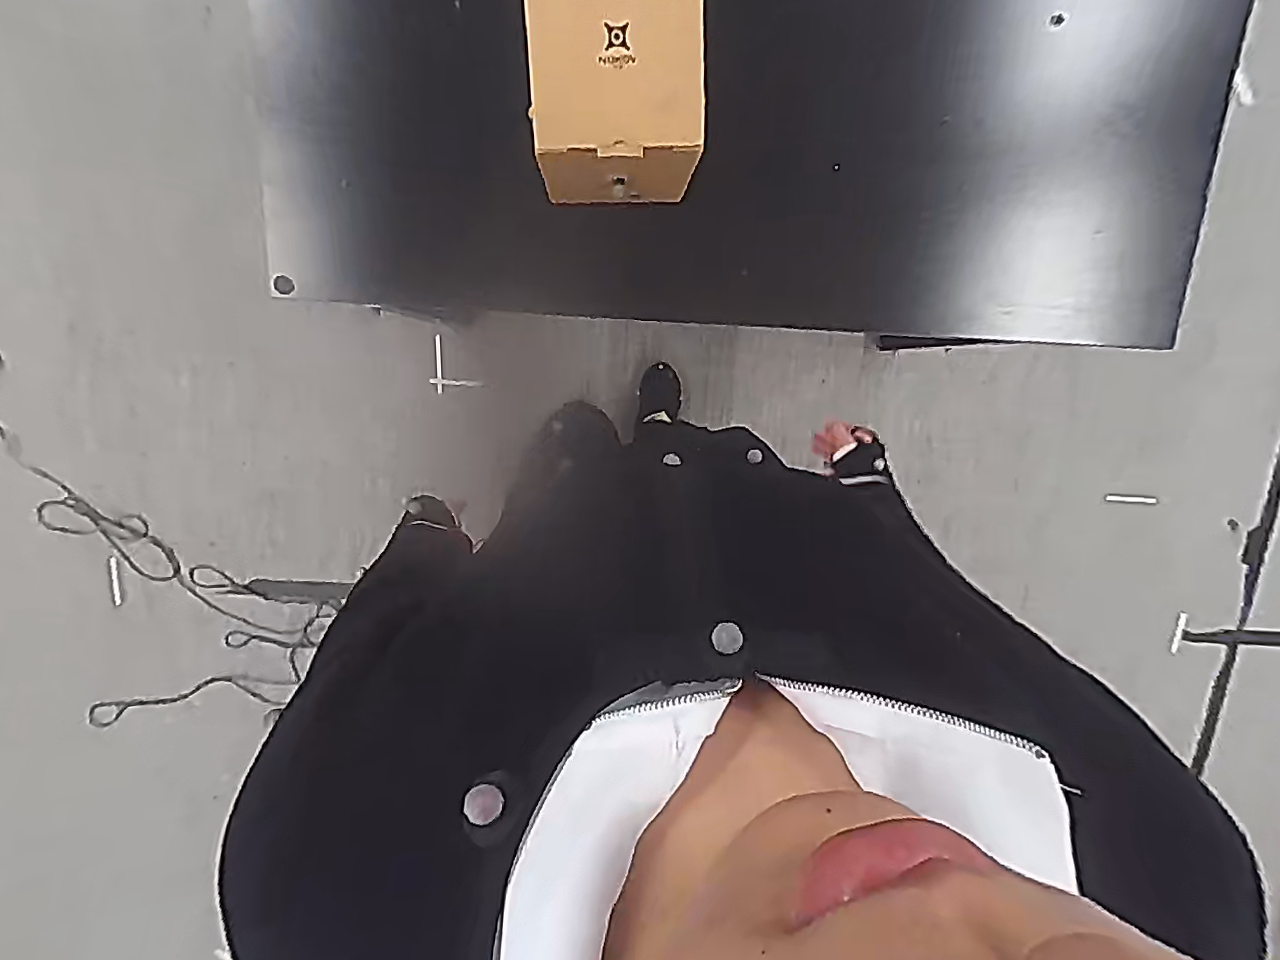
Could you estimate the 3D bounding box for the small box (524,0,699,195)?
[{"bbox_3d":[-0.028,-0.423,0.586,0.168,0.176,0.179,-2,102,-2],"label":"small box"}]
